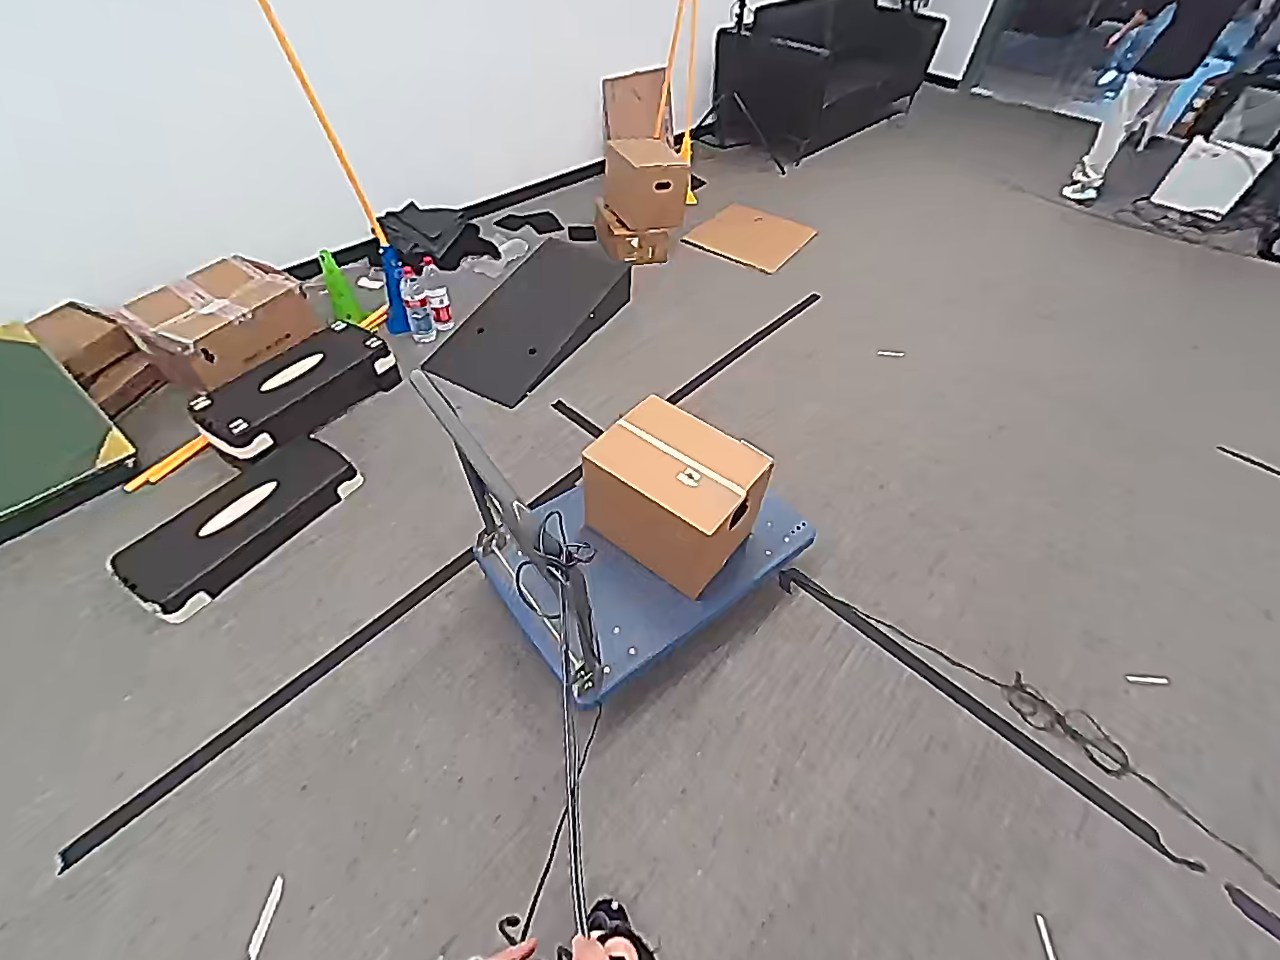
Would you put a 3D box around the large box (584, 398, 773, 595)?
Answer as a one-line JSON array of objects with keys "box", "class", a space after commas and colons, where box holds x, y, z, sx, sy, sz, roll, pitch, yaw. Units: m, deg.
[{"box": [0.089, 0.041, 1.509, 0.408, 0.320, 0.320, 32, 56, 21], "class": "large box"}]
